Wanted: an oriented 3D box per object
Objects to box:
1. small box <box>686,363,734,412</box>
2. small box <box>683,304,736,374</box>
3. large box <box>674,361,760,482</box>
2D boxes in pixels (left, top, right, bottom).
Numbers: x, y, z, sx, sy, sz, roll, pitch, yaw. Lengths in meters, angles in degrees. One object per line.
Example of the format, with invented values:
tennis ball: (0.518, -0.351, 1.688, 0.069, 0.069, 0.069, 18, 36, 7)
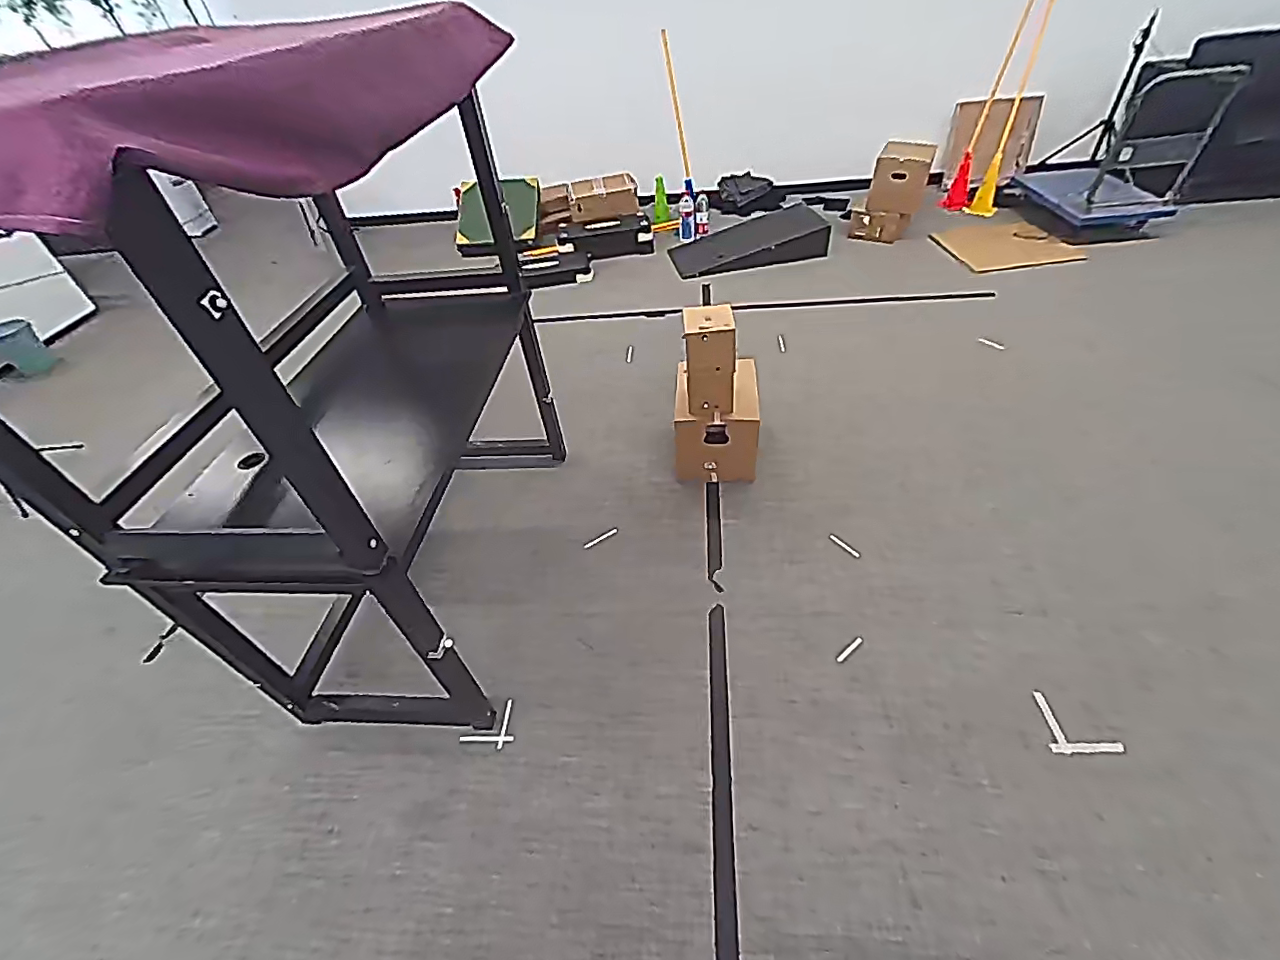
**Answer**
small box: (0.253, -0.366, 1.964, 0.168, 0.176, 0.179, -2, 45, 8)
small box: (0.235, -0.482, 1.850, 0.168, 0.176, 0.179, -5, 43, 6)
large box: (0.303, -0.238, 2.179, 0.320, 0.320, 0.408, 0, 44, 7)
